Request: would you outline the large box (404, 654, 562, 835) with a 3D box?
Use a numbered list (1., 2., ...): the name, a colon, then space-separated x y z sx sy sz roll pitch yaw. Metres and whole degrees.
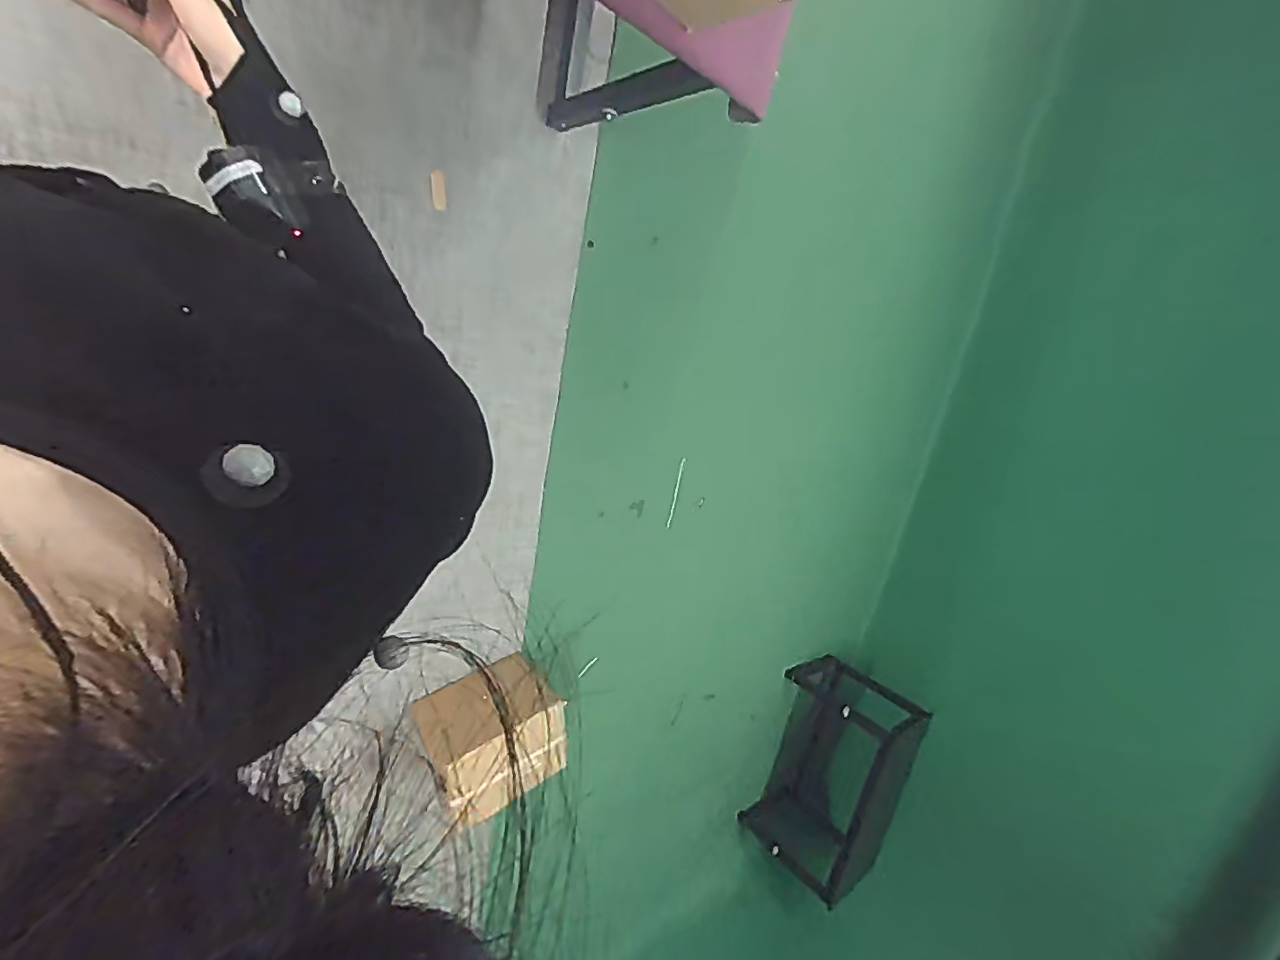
1. large box: -0.526 0.870 1.836 0.408 0.320 0.320 -19 120 -38
